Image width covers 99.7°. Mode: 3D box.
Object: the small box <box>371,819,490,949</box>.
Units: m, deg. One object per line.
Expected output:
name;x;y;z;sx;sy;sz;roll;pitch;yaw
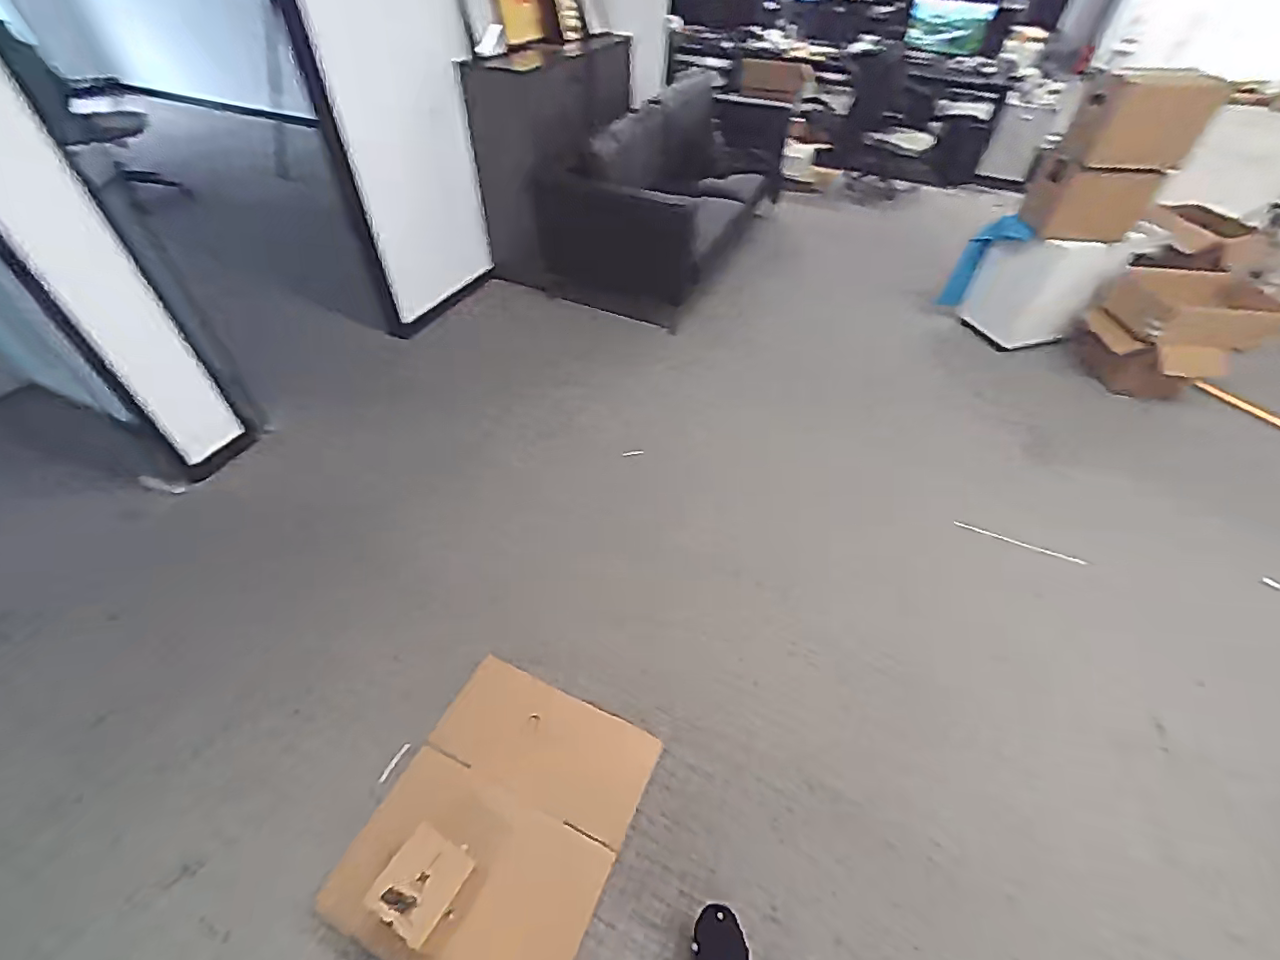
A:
small box;-0.466;0.925;1.234;0.168;0.176;0.179;23;50;19
